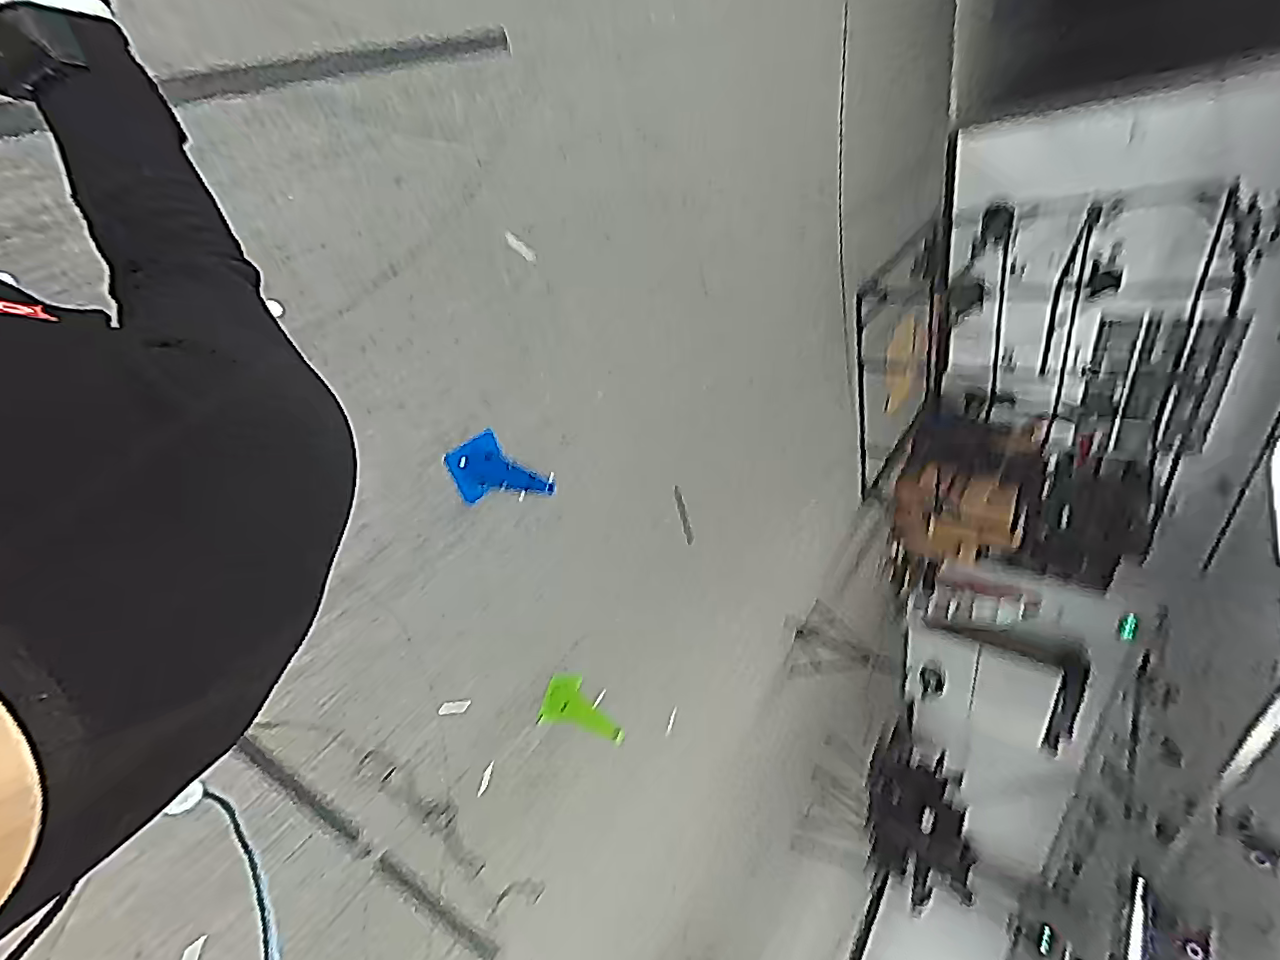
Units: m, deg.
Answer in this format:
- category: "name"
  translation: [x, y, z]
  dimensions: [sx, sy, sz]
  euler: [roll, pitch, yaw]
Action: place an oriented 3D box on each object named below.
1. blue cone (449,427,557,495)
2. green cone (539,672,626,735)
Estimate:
- category: "blue cone"
  translation: [-0.408, -0.032, 1.692]
  dimensions: [0.192, 0.380, 0.193]
  euler: [-42, 131, -37]
- category: "green cone"
  translation: [-0.205, 0.952, 2.214]
  dimensions: [0.200, 0.368, 0.202]
  euler: [27, 78, -52]
